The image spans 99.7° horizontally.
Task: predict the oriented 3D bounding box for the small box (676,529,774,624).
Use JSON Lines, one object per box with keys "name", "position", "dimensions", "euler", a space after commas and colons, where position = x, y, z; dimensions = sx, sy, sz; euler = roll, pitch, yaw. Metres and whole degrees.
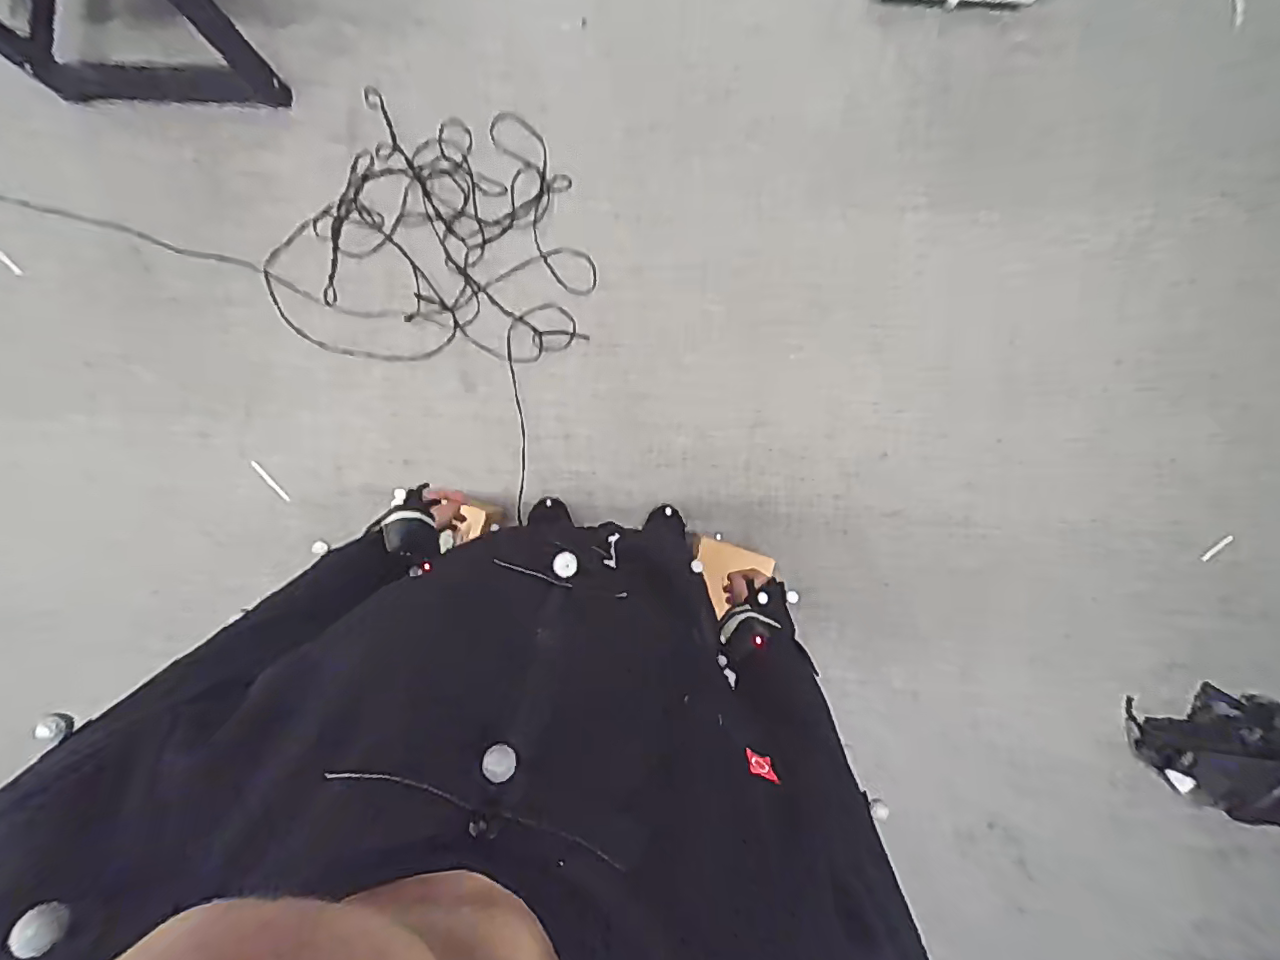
{"name": "small box", "position": [0.195, 0.221, 1.294], "dimensions": [0.179, 0.176, 0.168], "euler": [17, 90, 0]}
